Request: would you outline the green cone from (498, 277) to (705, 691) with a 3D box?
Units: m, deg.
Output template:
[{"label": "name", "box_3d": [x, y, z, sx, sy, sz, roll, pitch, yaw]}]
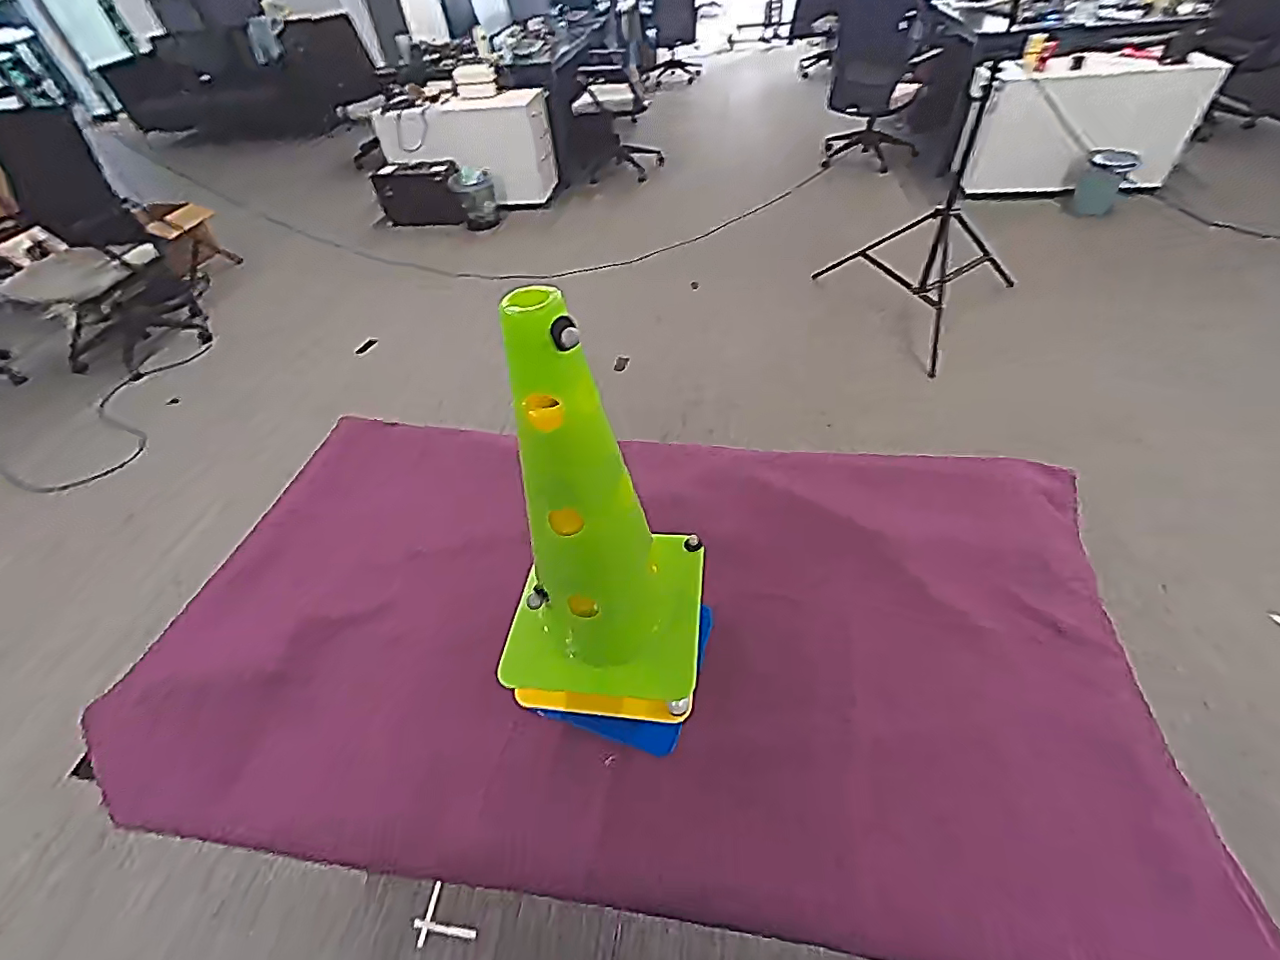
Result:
[{"label": "green cone", "box_3d": [-0.052, 0.005, 0.466, 0.200, 0.368, 0.202, 0, 45, 10]}]
